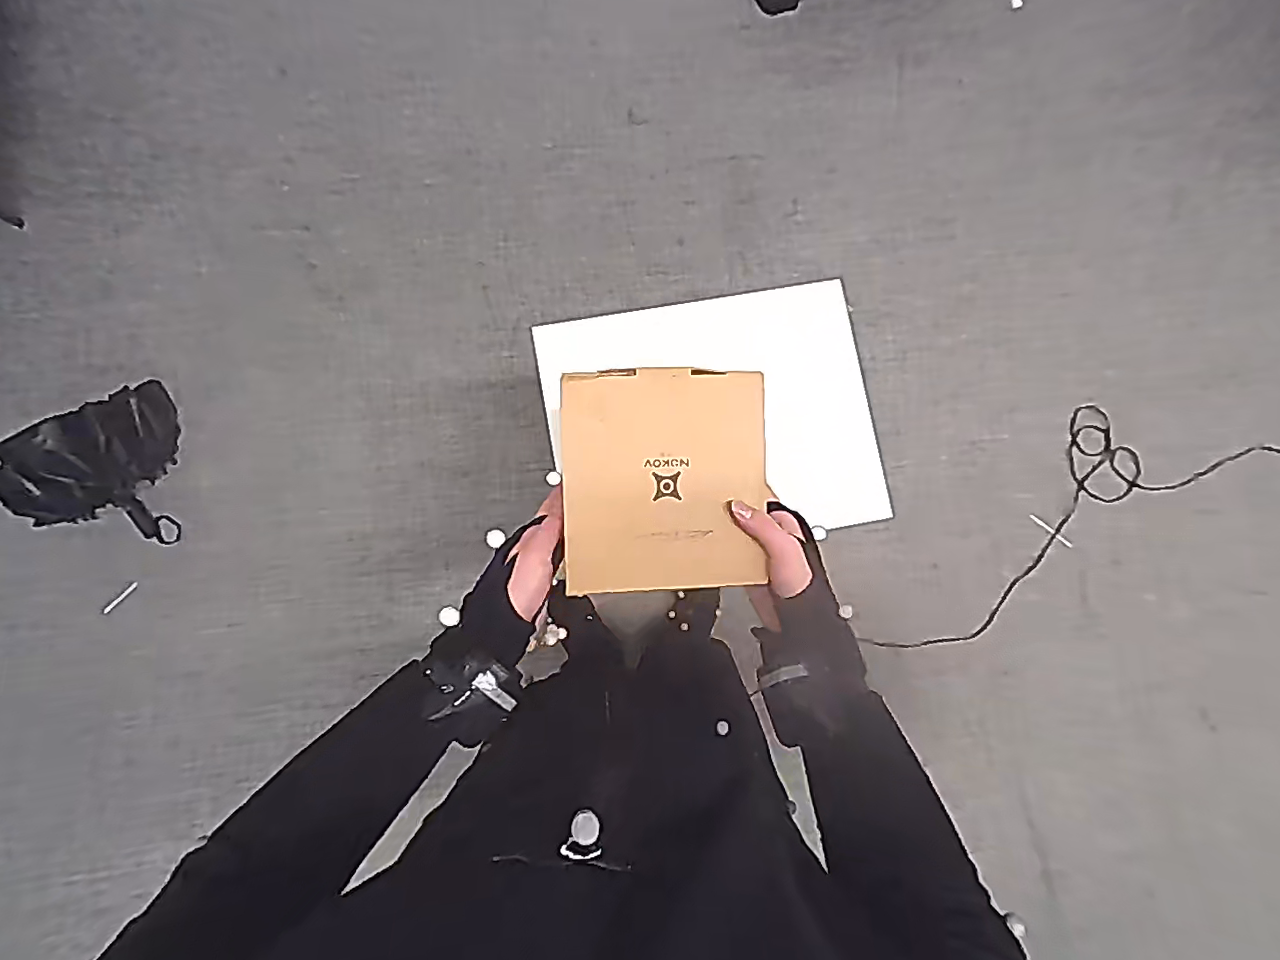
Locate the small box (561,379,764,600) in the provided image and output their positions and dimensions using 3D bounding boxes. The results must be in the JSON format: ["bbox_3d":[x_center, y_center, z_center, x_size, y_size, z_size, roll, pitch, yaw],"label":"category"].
[{"bbox_3d":[0.011,0.006,0.512,0.168,0.176,0.179,-2,92,-5],"label":"small box"}]
